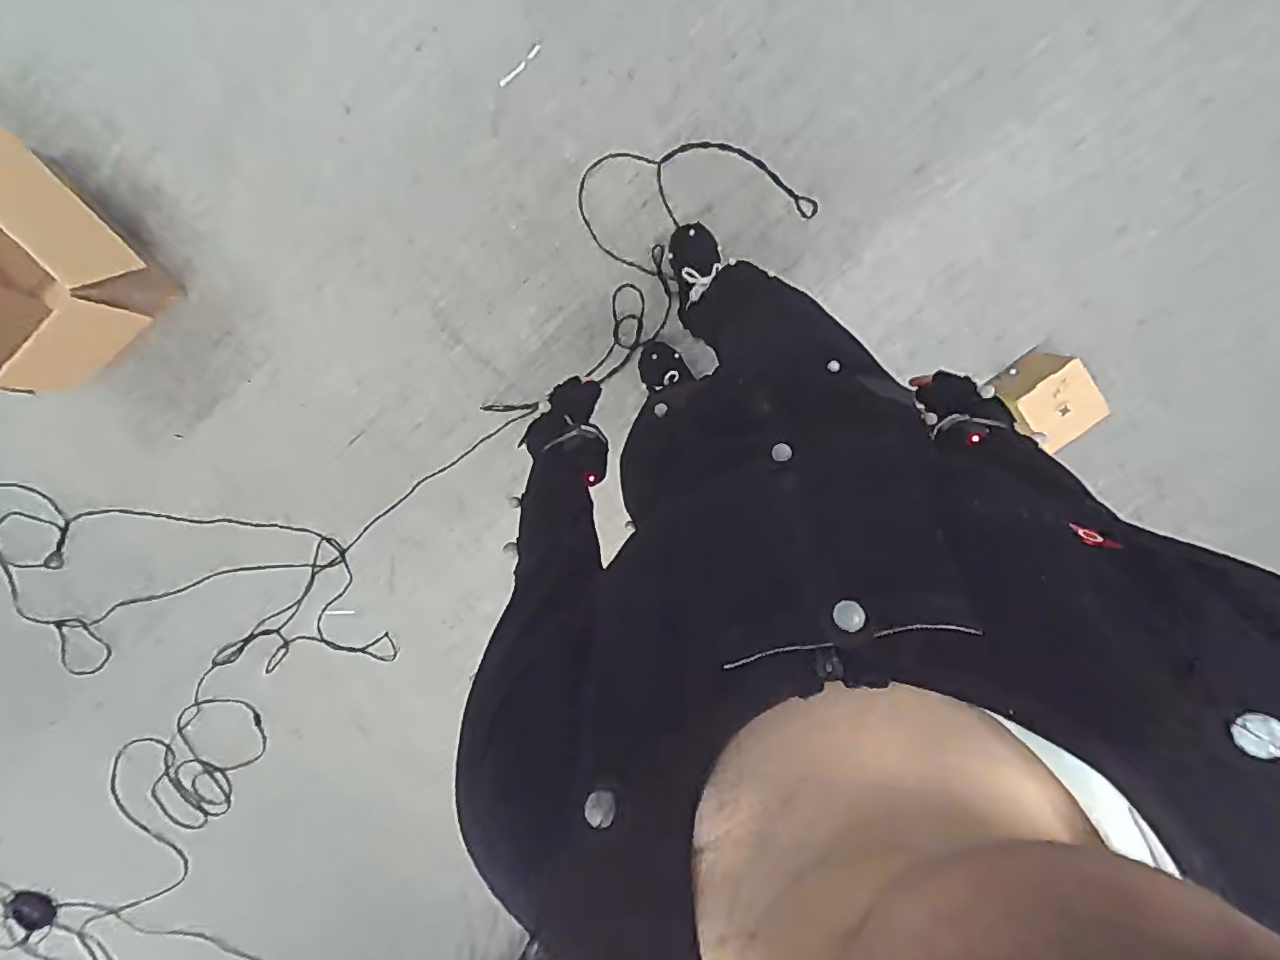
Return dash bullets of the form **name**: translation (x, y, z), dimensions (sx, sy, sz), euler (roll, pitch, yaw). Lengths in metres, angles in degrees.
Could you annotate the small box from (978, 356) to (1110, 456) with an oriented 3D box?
- **small box**: translation (1.001, -0.193, 1.354), dimensions (0.168, 0.176, 0.179), euler (-40, 103, 12)
